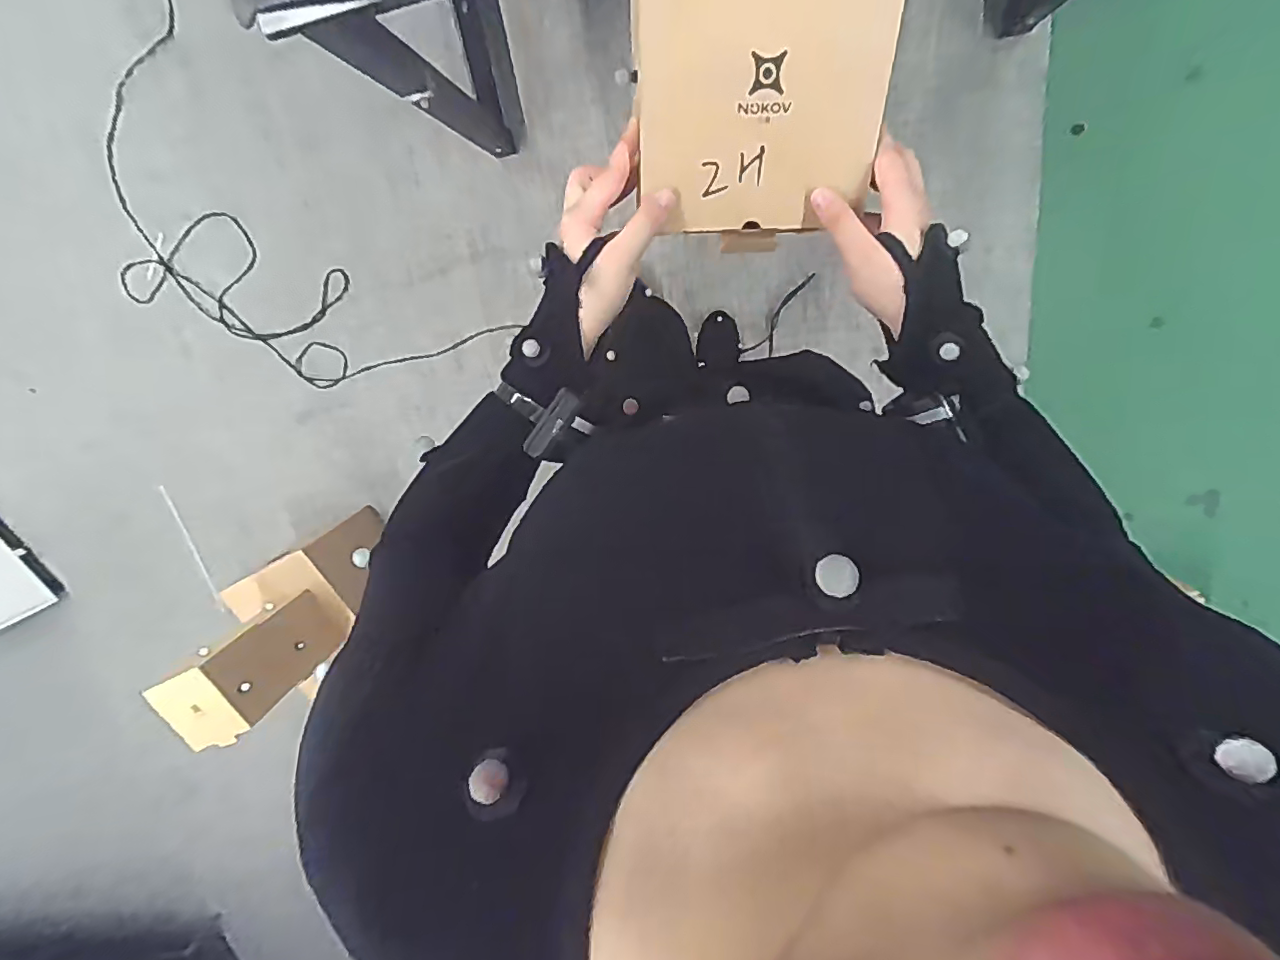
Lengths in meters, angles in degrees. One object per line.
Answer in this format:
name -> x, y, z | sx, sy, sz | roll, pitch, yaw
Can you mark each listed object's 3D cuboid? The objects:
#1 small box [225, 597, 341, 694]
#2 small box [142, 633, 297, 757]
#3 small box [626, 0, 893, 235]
small box -> -0.903, 0.427, 1.361 | 0.168, 0.176, 0.179 | -25, 104, 12
small box -> -0.923, 0.467, 1.205 | 0.168, 0.176, 0.179 | -25, 105, 12
small box -> 0.073, -0.298, 0.427 | 0.168, 0.176, 0.179 | -1, 122, -1
